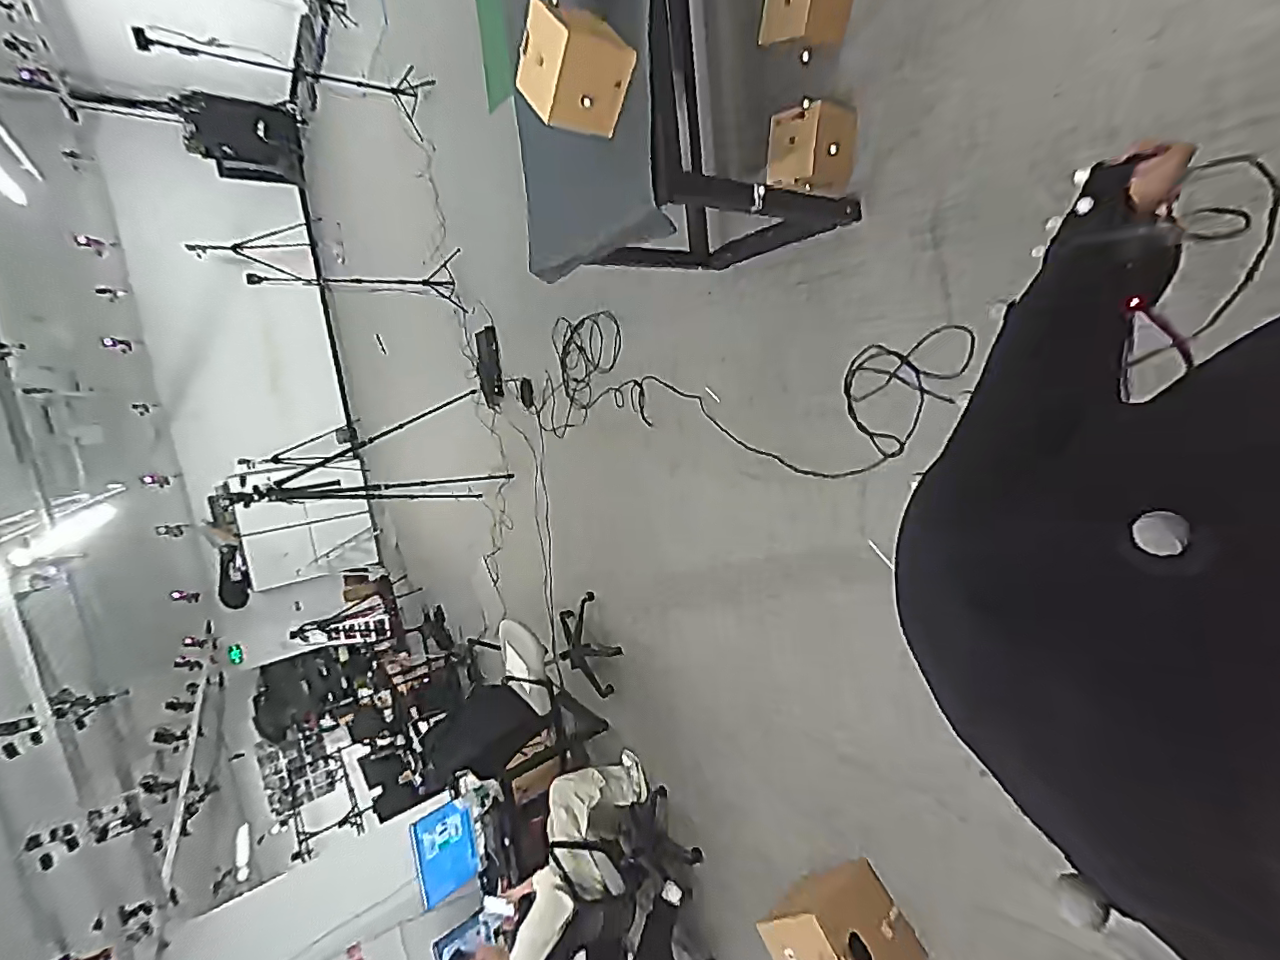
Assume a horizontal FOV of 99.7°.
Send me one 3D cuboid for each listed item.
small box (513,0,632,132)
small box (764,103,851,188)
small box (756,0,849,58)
[{"bbox_3d":[-0.141,-0.859,1.133,0.179,0.176,0.168,58,141,24],"label":"small box"},{"bbox_3d":[0.472,-0.932,1.525,0.168,0.176,0.179,25,121,48],"label":"small box"},{"bbox_3d":[0.442,-1.271,1.453,0.168,0.176,0.179,35,129,44],"label":"small box"}]
